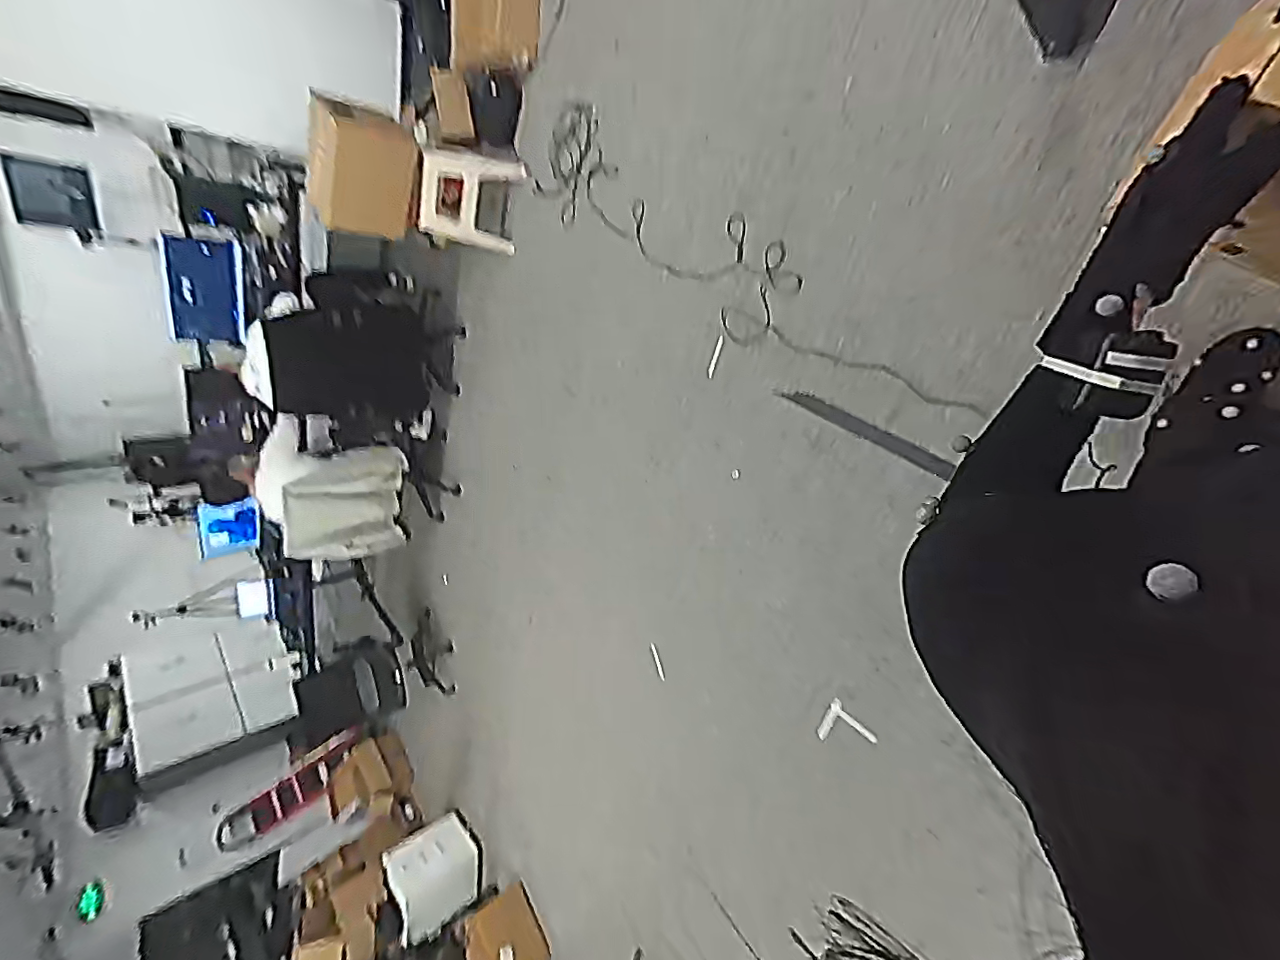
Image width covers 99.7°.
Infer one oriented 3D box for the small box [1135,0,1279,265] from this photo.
[{"bbox_3d":[0.531,-0.291,0.392,0.168,0.176,0.179,33,99,13],"label":"small box"}]
